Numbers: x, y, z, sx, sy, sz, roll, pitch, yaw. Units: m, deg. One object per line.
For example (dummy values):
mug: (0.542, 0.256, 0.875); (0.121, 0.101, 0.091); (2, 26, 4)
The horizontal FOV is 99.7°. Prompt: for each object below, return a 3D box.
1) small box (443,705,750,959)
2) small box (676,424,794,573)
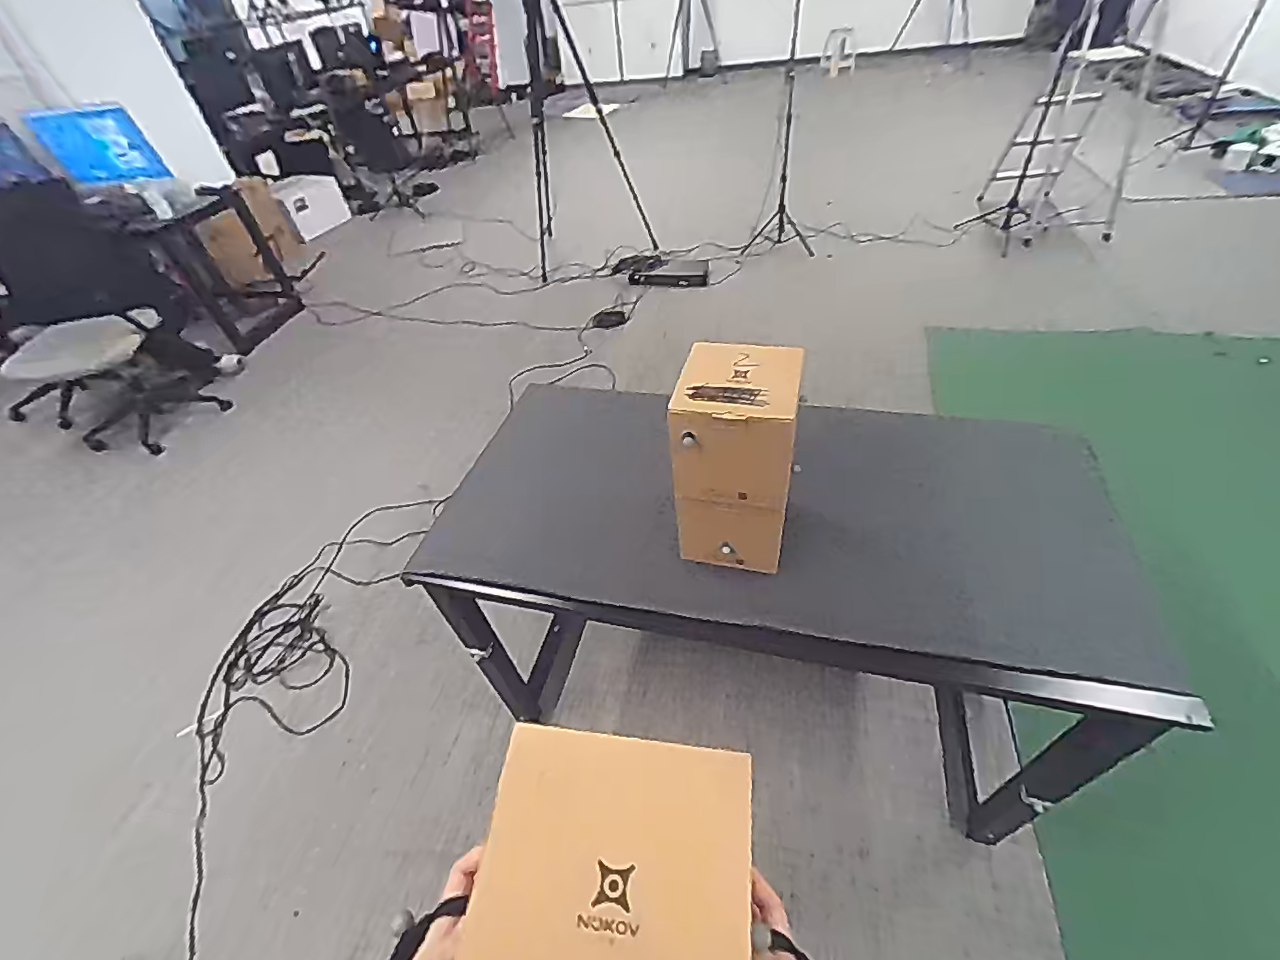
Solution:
small box: (-0.021, 0.279, 0.372); (0.168, 0.176, 0.179); (6, 51, 3)
small box: (0.162, 0.028, 0.919); (0.168, 0.176, 0.179); (7, 45, 16)
